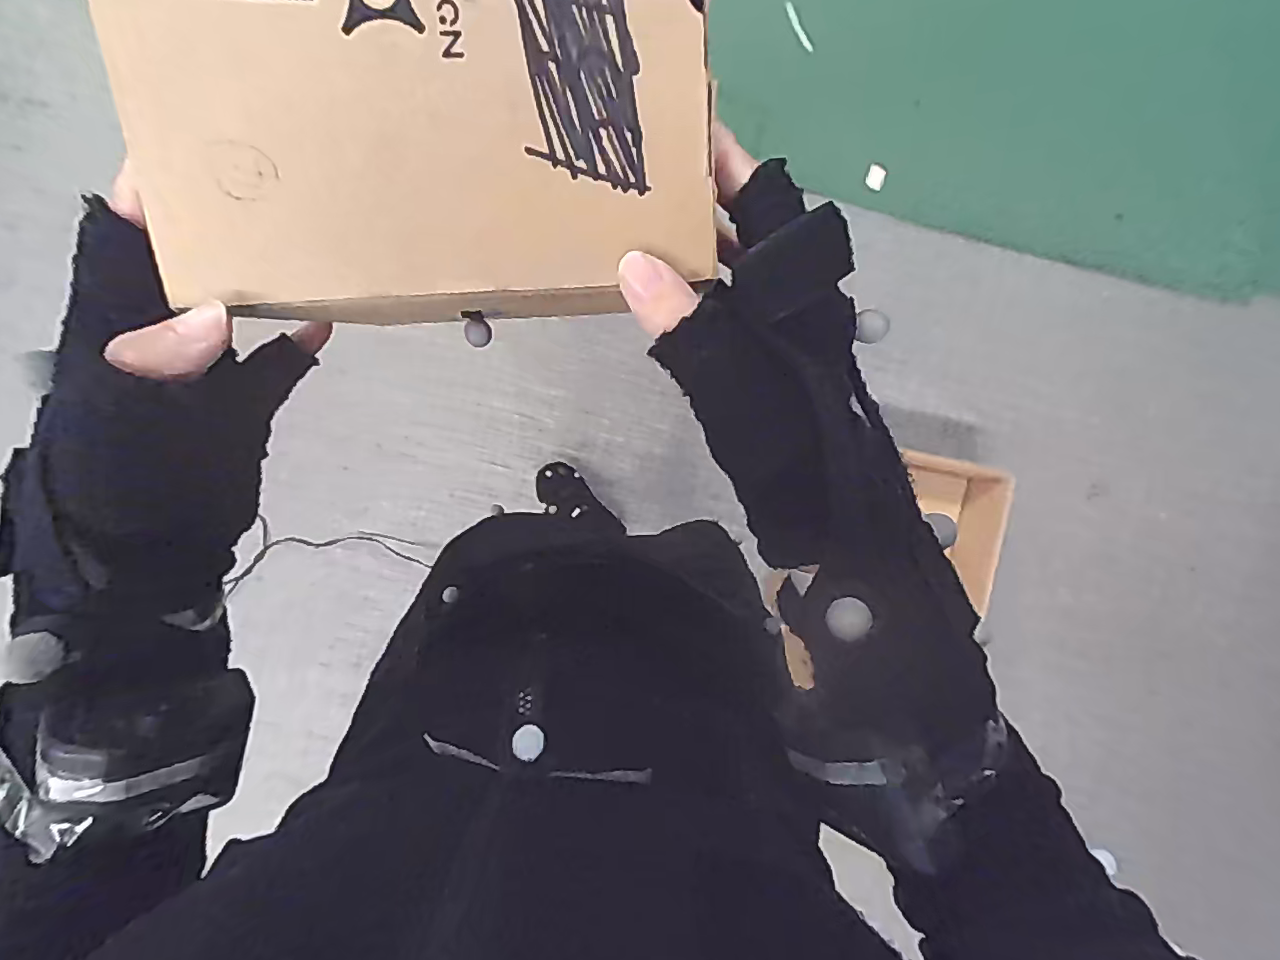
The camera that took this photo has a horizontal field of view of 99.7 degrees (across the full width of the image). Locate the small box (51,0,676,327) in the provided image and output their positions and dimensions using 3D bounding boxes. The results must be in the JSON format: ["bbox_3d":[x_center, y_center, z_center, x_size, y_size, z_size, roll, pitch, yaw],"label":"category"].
[{"bbox_3d":[-0.083,-0.157,0.234,0.179,0.176,0.168,-4,104,-2],"label":"small box"}]
